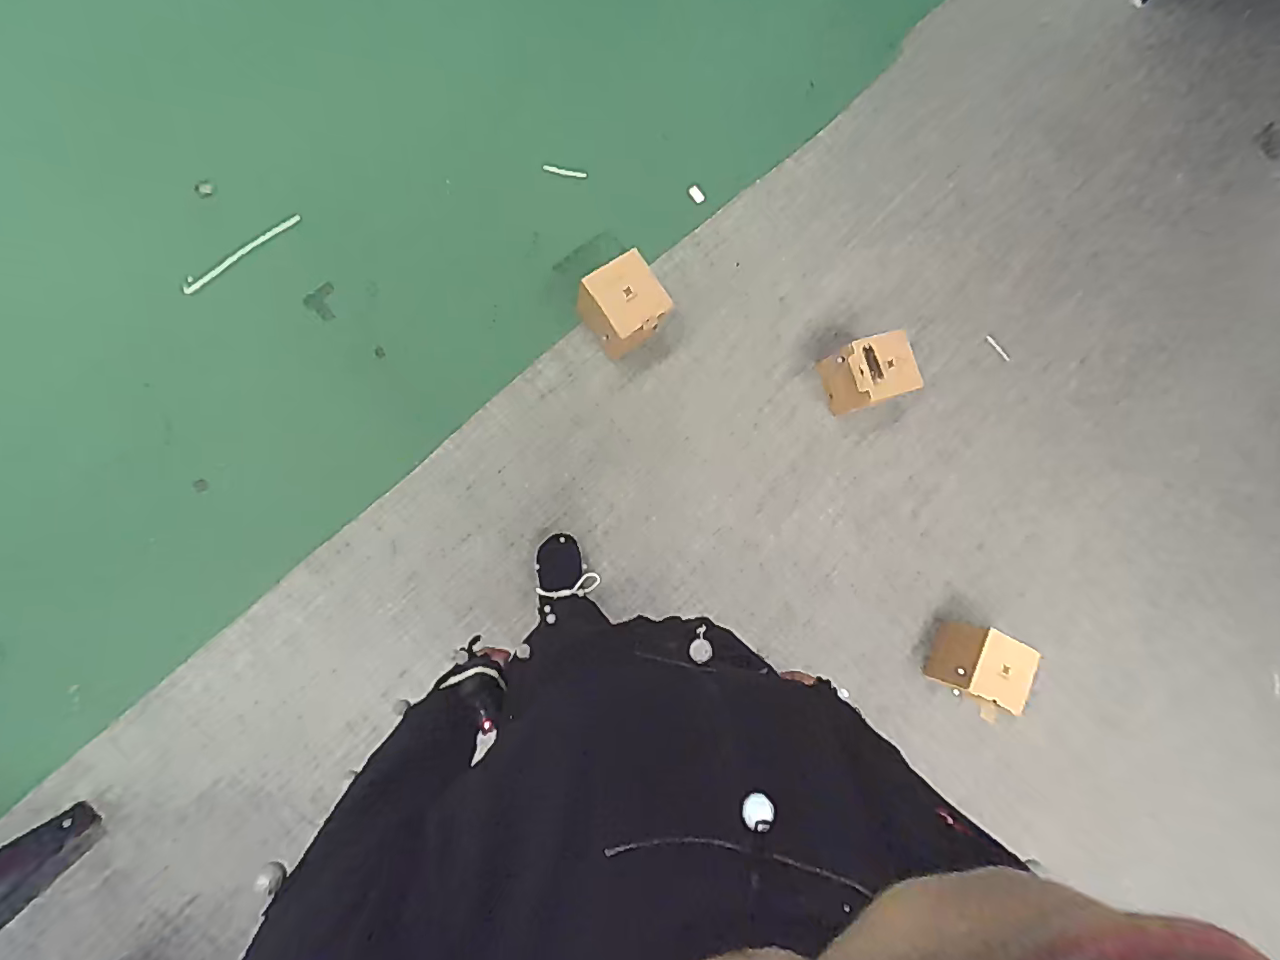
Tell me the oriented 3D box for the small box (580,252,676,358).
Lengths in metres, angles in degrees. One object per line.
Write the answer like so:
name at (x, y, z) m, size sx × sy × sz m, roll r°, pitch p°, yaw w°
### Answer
small box at (-0.037, -0.432, 1.378) m, size 0.168 × 0.176 × 0.179 m, roll -36°, pitch 90°, yaw -14°

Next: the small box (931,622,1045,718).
small box at (0.922, 0.497, 1.447) m, size 0.168 × 0.176 × 0.179 m, roll 27°, pitch 80°, yaw -6°
